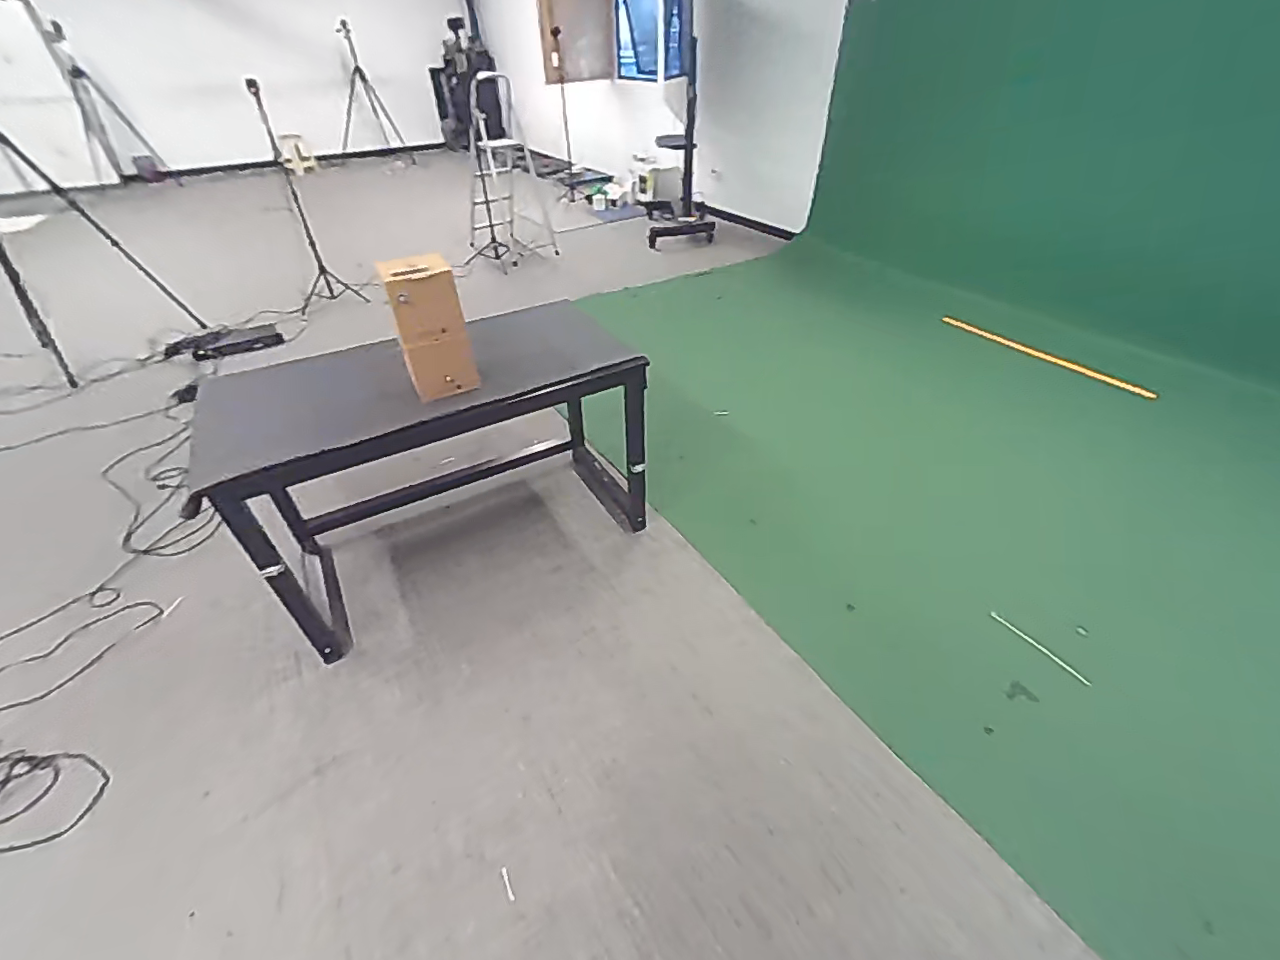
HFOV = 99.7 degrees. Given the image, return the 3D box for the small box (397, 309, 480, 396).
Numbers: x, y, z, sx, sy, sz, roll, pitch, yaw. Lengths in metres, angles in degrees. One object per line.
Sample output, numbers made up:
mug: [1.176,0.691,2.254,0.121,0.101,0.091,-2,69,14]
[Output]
small box: [-0.569,-0.361,1.531,0.168,0.176,0.179,-21,43,-21]
